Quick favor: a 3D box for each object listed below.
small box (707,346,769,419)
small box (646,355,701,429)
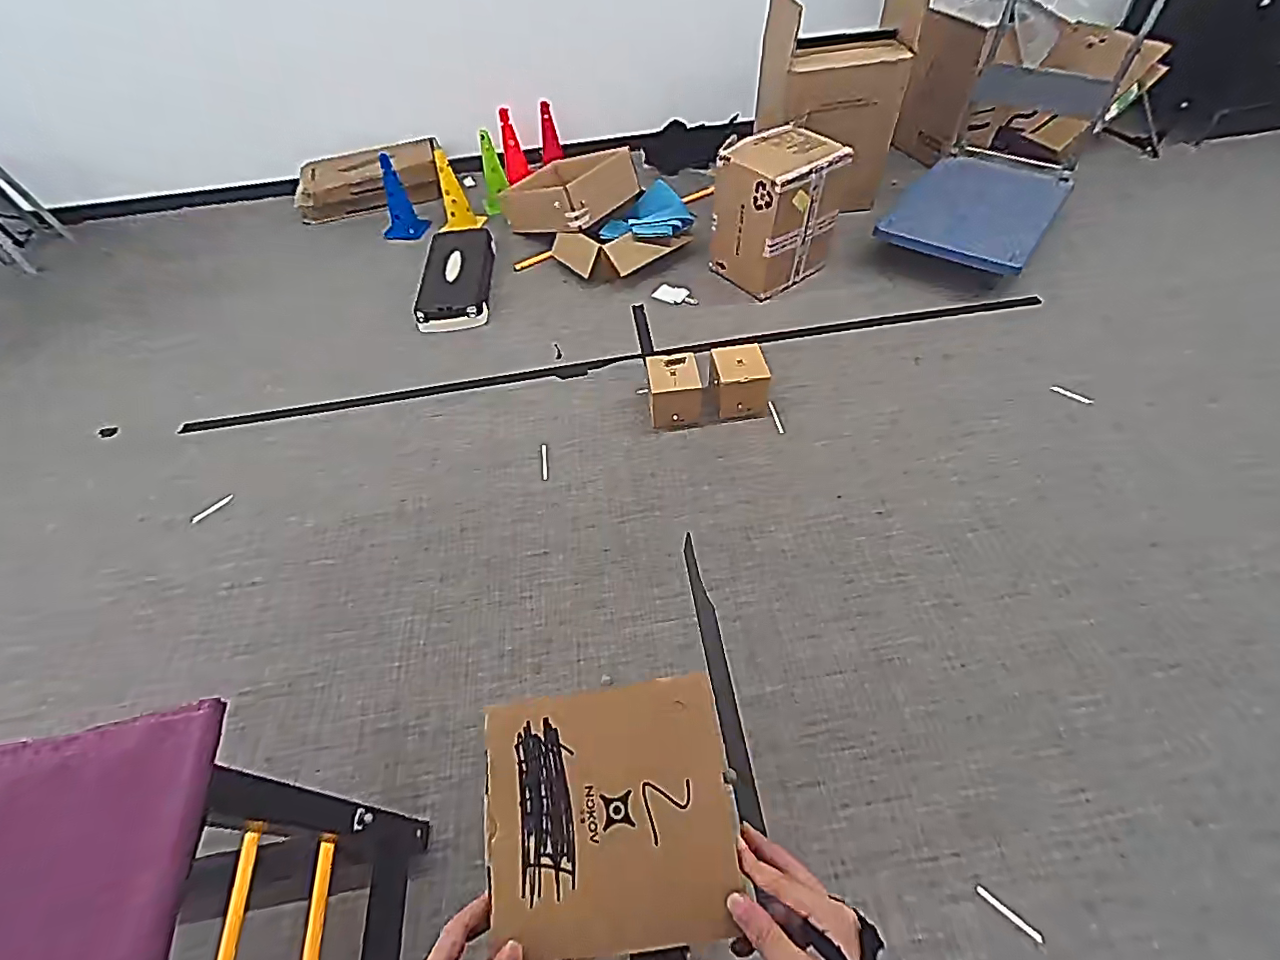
[{"bbox_3d":[0.332,-0.335,1.863,0.168,0.176,0.179,-8,53,-3],"label":"small box"},{"bbox_3d":[0.109,-0.299,1.845,0.168,0.176,0.179,-7,53,-2],"label":"small box"}]
